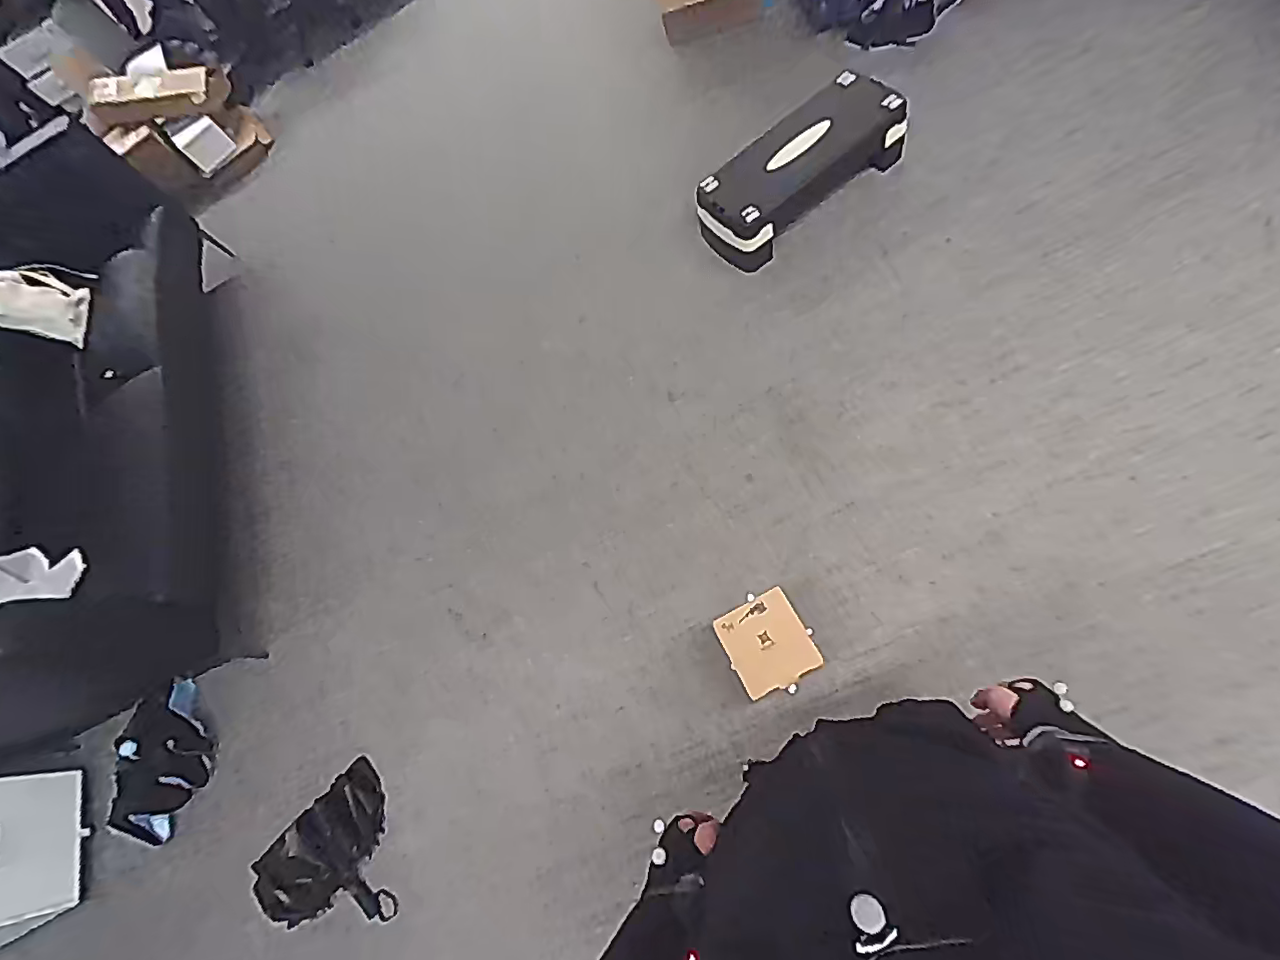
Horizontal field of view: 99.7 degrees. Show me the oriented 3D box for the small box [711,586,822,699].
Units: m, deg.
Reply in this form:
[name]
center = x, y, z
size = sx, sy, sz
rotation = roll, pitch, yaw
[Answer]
[small box]
center = 0.278, 0.354, 1.177
size = 0.168, 0.176, 0.179
rotation = -30, 65, 5
